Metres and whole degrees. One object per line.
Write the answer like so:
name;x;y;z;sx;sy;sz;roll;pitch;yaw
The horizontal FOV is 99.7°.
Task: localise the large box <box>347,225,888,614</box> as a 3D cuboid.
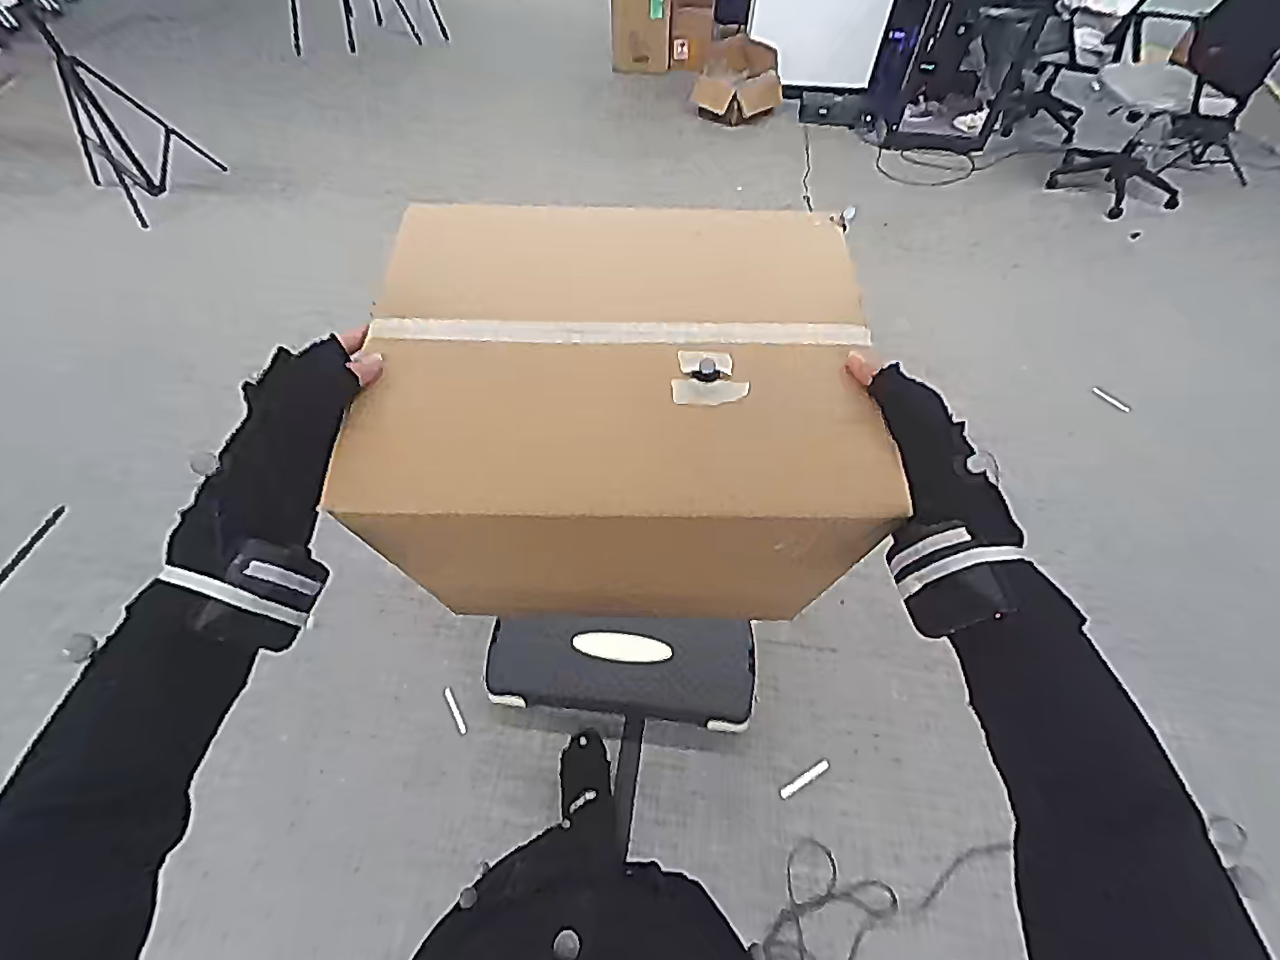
large box;-0.019;-0.044;0.590;0.408;0.320;0.320;1;63;-1
